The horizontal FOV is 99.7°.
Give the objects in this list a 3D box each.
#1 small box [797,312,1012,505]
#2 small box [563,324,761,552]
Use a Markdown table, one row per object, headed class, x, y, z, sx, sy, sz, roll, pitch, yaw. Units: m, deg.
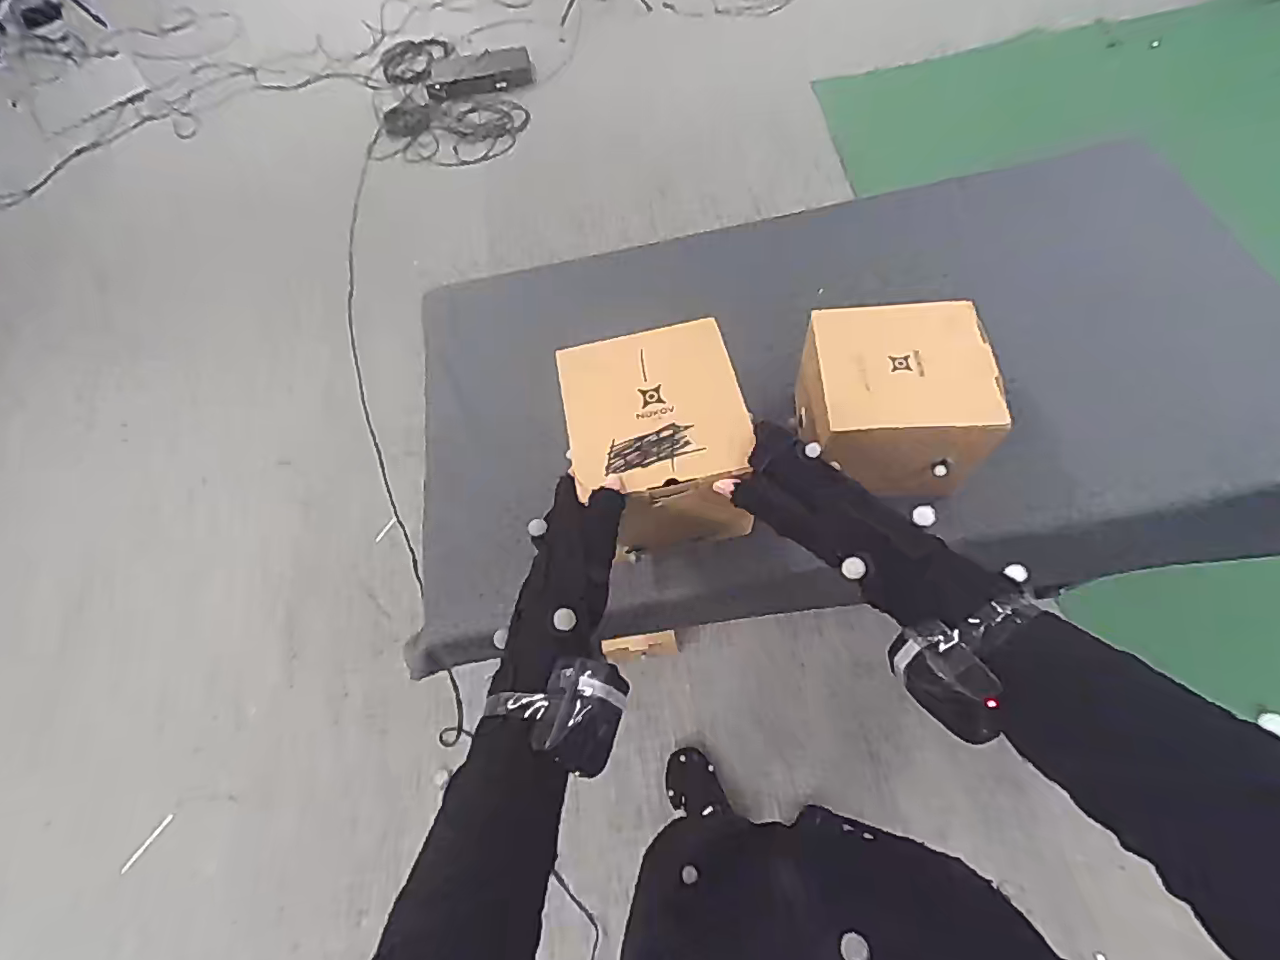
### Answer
| class | x | y | z | sx | sy | sz | roll | pitch | yaw |
| --- | --- | --- | --- | --- | --- | --- | --- | --- | --- |
| small box | 0.295 | -0.076 | 0.649 | 0.179 | 0.176 | 0.168 | -2 | 63 | 8 |
| small box | 0.024 | -0.033 | 0.581 | 0.168 | 0.176 | 0.179 | -11 | 63 | 0 |
